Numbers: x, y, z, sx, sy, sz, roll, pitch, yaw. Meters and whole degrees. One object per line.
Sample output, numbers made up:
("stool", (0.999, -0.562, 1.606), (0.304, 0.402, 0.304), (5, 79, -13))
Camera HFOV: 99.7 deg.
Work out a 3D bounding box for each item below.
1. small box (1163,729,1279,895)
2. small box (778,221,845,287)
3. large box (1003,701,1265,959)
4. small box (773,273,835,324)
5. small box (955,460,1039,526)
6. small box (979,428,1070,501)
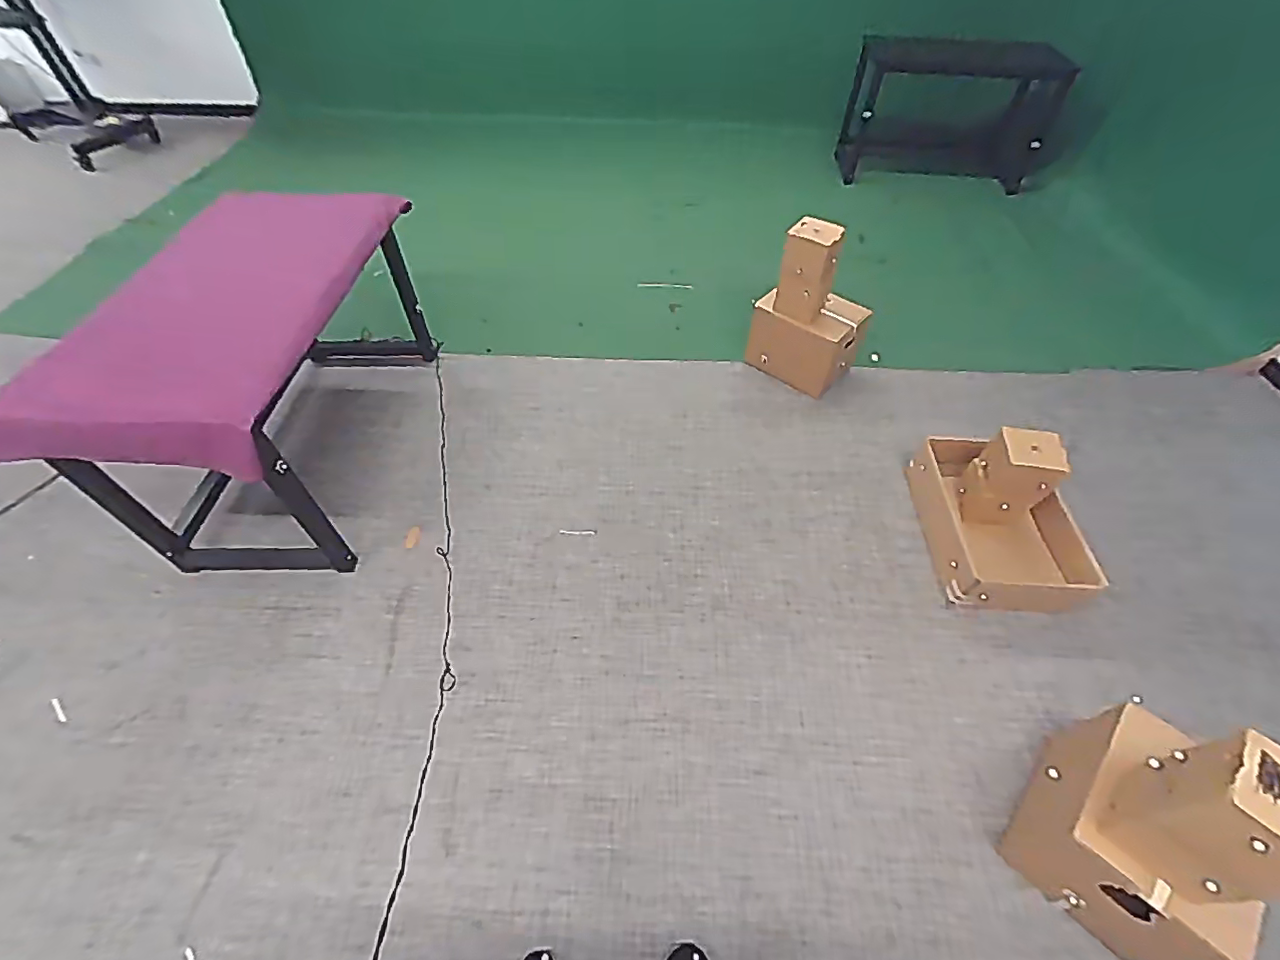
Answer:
("small box", (1.071, 0.575, 0.931), (0.168, 0.176, 0.179), (-36, 60, -27))
("small box", (0.677, -0.891, 2.146), (0.179, 0.176, 0.168), (31, 57, 21))
("large box", (1.145, 0.820, 1.262), (0.320, 0.320, 0.408), (38, 58, 26))
("small box", (0.683, -0.782, 2.268), (0.179, 0.176, 0.168), (29, 56, 21))
("small box", (1.262, 0.051, 1.927), (0.179, 0.176, 0.168), (5, 54, 5))
("small box", (1.267, -0.047, 1.796), (0.179, 0.176, 0.168), (8, 53, 7))
